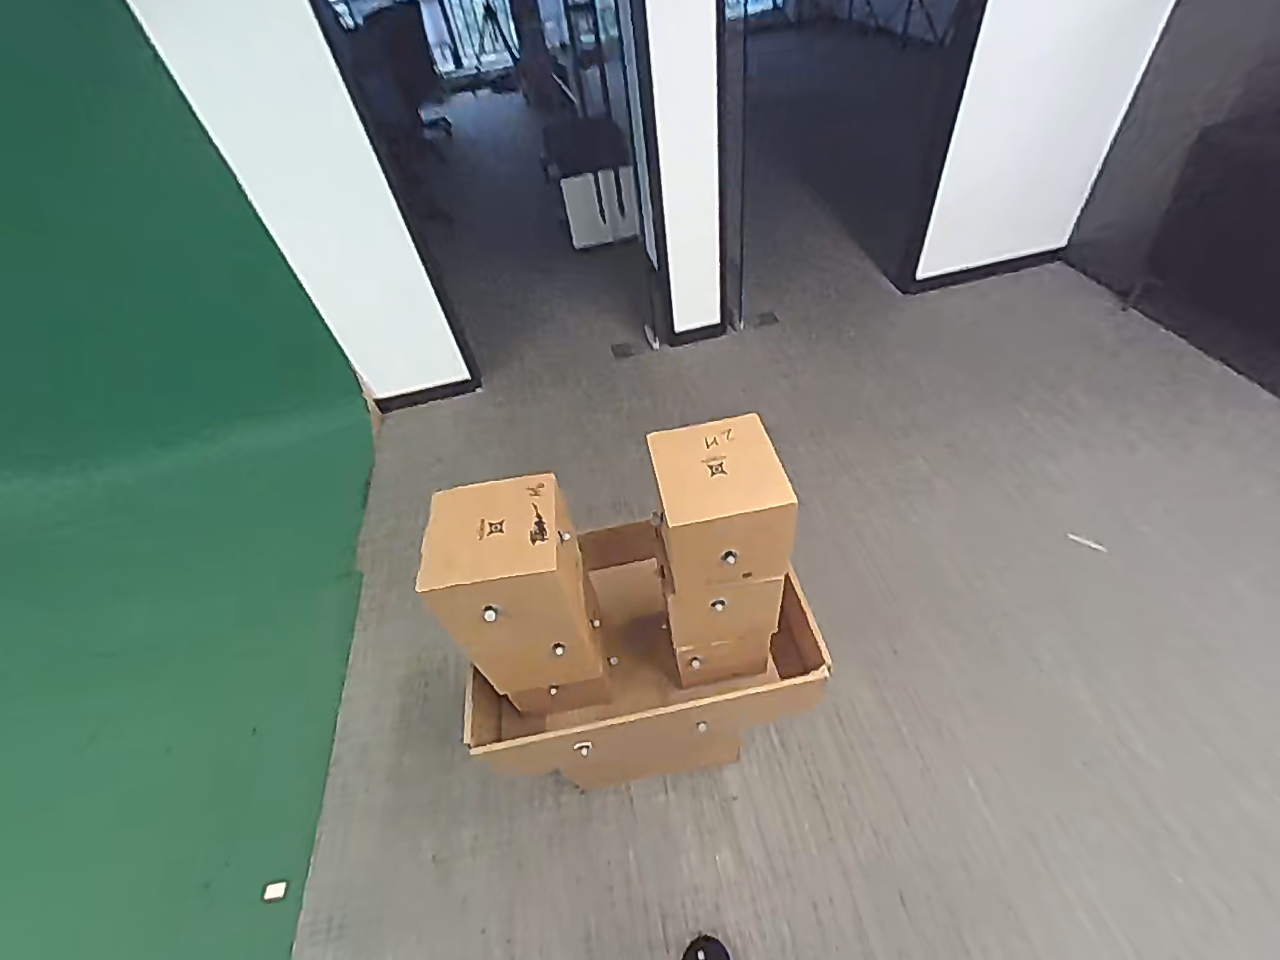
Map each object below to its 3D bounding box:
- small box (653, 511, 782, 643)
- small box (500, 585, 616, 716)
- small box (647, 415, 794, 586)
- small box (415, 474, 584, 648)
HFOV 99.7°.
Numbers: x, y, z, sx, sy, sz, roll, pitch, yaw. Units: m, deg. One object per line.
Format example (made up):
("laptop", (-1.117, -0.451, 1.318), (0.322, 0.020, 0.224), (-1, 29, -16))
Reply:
("small box", (0.125, 0.153, 0.896), (0.179, 0.176, 0.168), (-9, 47, 0))
("small box", (-0.149, 0.323, 1.013), (0.179, 0.176, 0.168), (-10, 48, -1))
("small box", (0.111, 0.037, 0.779), (0.168, 0.176, 0.179), (-11, 47, -1))
("small box", (-0.184, 0.118, 0.760), (0.179, 0.176, 0.168), (-10, 48, 1))
